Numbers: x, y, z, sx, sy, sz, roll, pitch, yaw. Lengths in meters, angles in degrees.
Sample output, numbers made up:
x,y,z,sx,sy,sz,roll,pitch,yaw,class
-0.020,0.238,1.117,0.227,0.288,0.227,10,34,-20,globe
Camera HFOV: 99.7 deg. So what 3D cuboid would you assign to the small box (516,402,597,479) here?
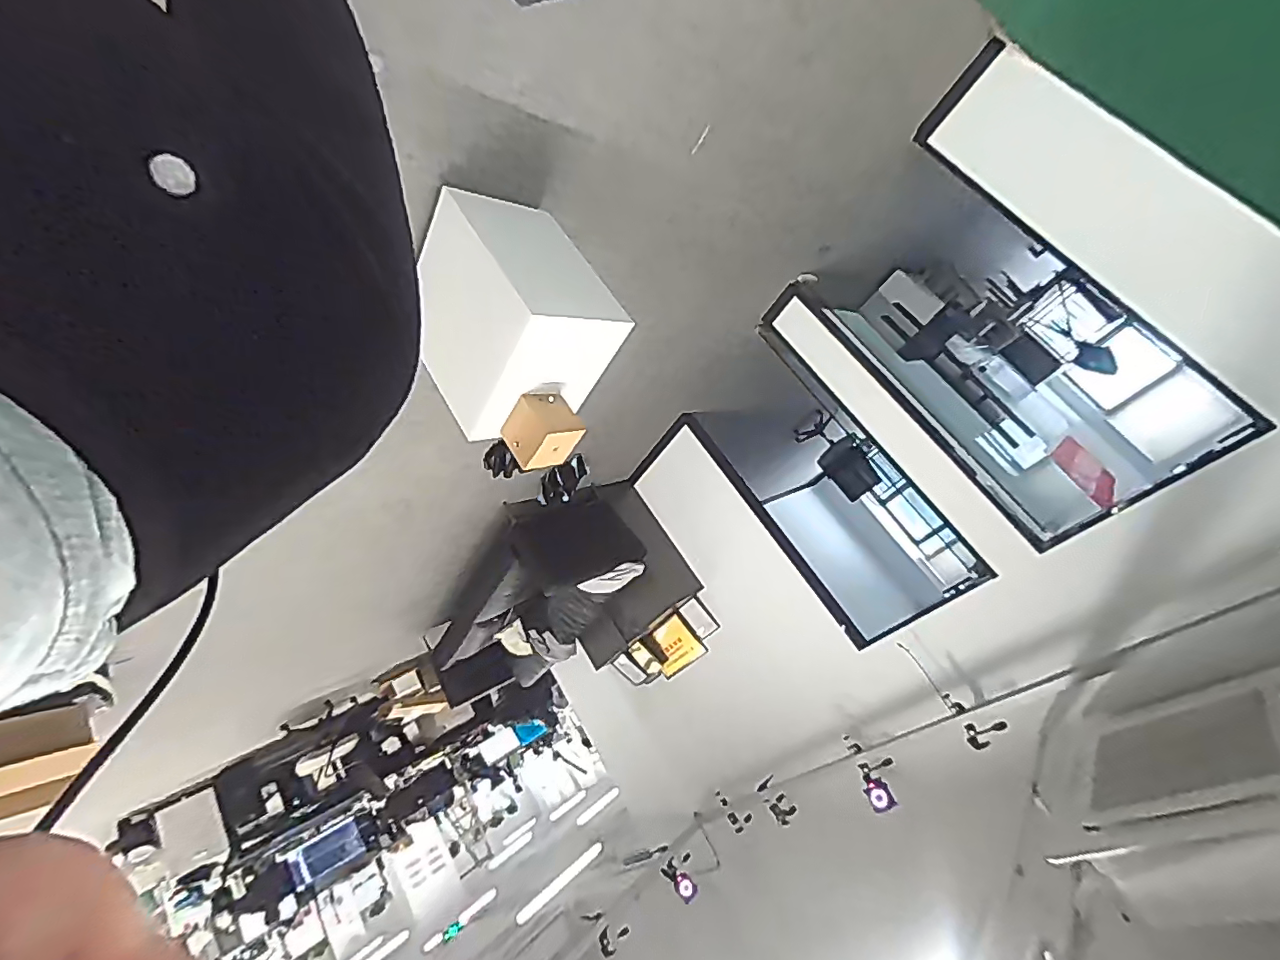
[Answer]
x,y,z,sx,sy,sz,roll,pitch,yaw,class
-0.274,-0.130,1.733,0.168,0.176,0.179,-15,150,-48,small box
